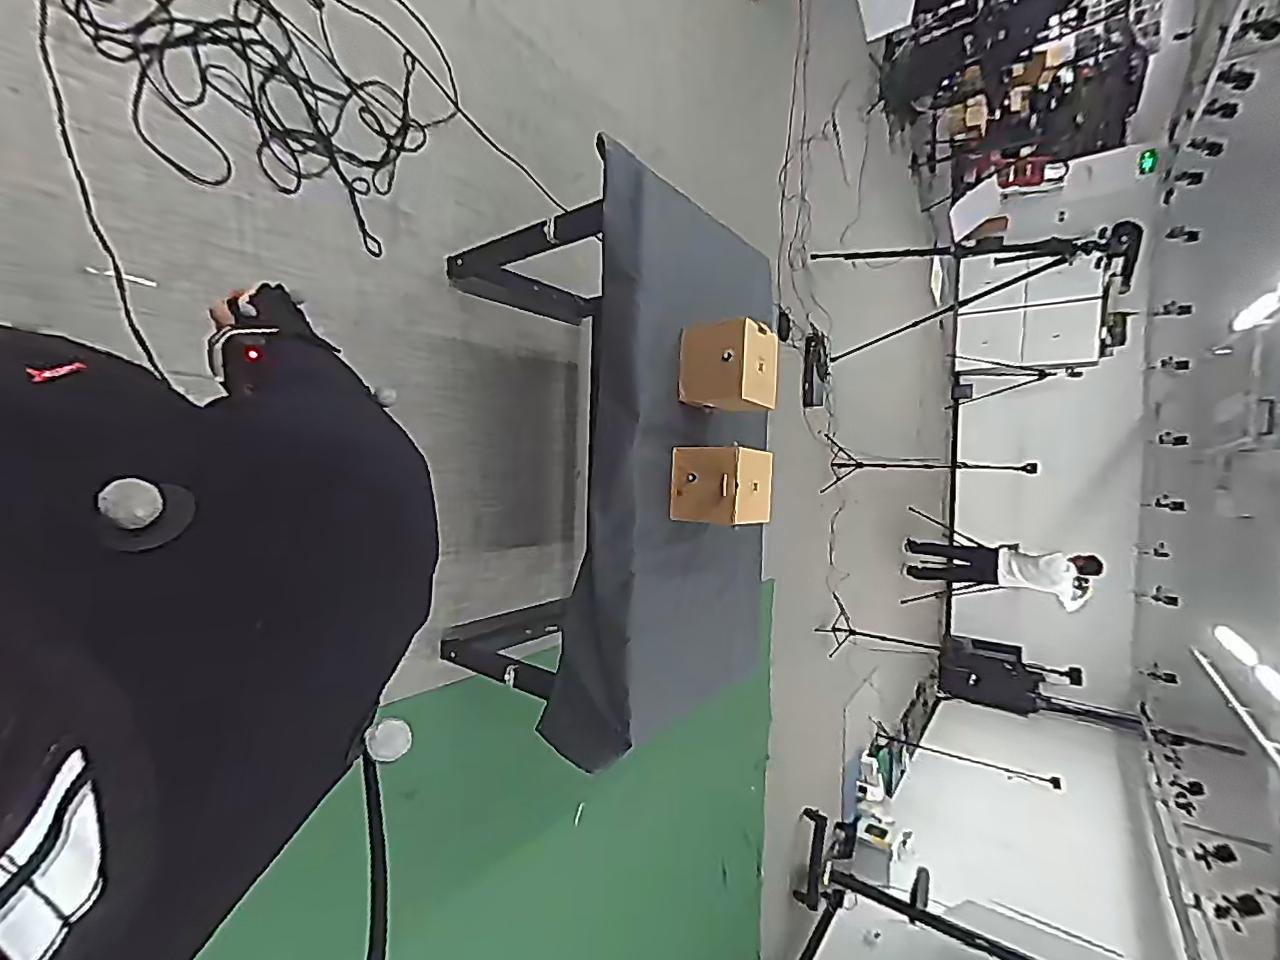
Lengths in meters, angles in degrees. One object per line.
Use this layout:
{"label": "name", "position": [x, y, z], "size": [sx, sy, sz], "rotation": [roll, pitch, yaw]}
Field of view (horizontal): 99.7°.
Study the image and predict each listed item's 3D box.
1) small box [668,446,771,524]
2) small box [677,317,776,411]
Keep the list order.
{"label": "small box", "position": [0.185, 0.010, 1.248], "size": [0.179, 0.176, 0.168], "rotation": [3, 90, -53]}
{"label": "small box", "position": [0.199, -0.260, 1.251], "size": [0.168, 0.176, 0.179], "rotation": [3, 91, -52]}
